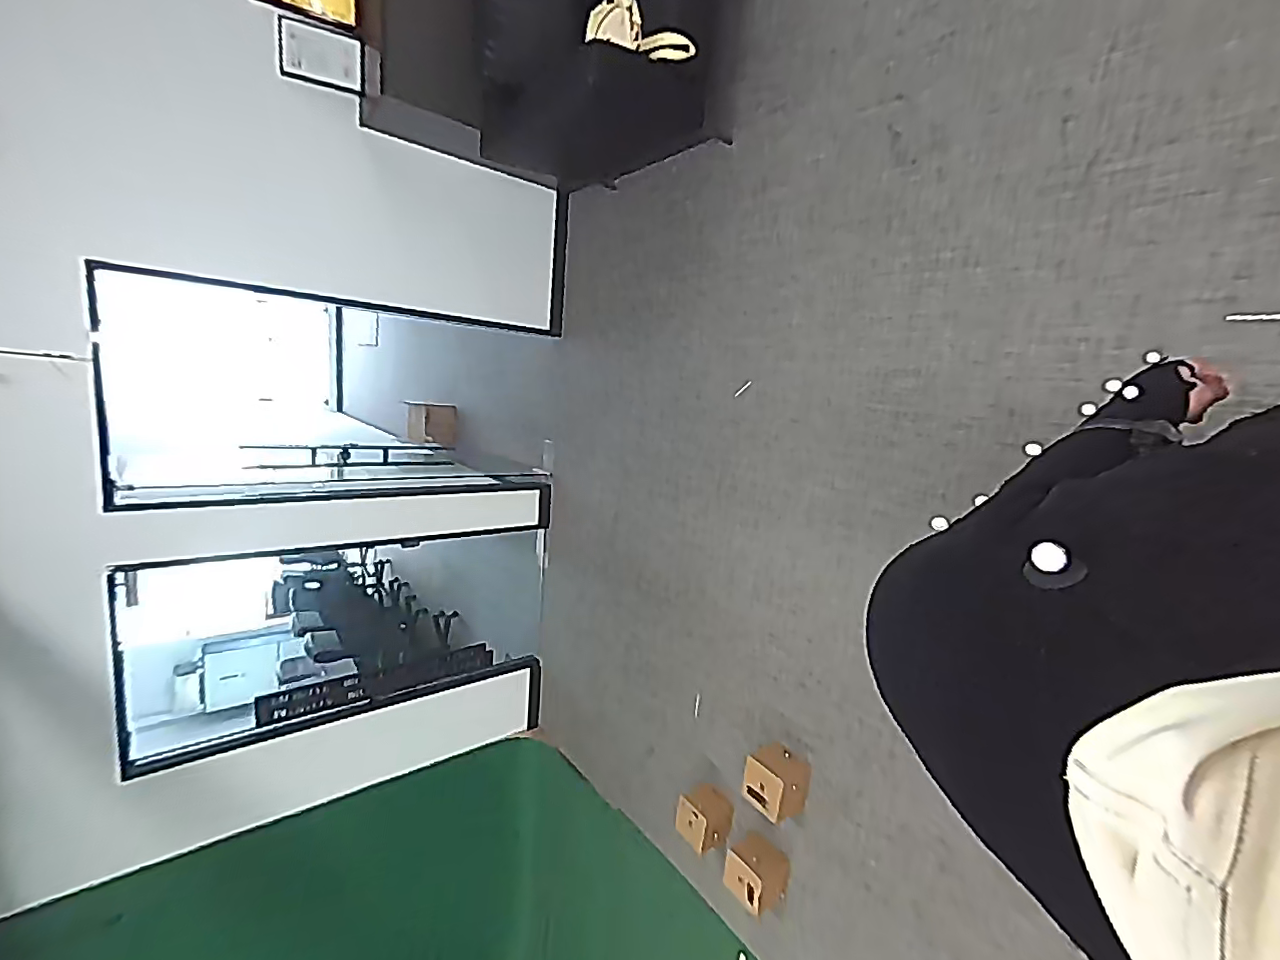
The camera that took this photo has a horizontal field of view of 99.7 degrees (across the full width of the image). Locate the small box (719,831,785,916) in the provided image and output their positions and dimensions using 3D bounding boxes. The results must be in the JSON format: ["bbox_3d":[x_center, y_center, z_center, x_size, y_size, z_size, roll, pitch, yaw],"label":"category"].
[{"bbox_3d":[0.435,1.509,2.088,0.179,0.176,0.168,19,106,50],"label":"small box"}]

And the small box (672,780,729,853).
[{"bbox_3d":[0.261,1.428,2.305,0.168,0.176,0.179,21,109,49],"label":"small box"}]
